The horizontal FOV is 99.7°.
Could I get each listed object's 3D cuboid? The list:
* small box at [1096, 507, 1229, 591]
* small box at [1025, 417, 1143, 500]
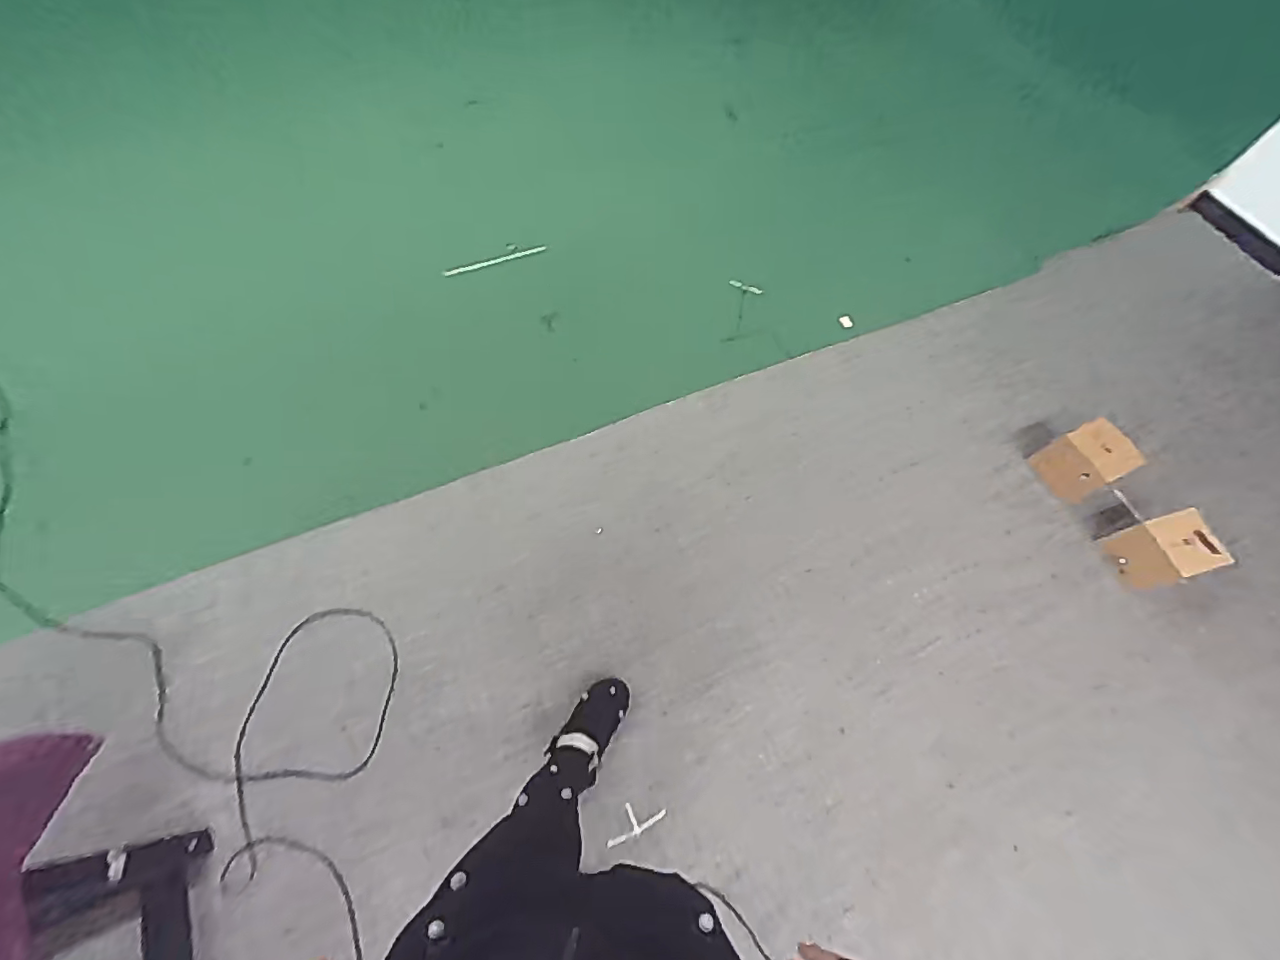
[{"bbox_3d":[1.462,0.198,1.527,0.179,0.176,0.168,-13,65,-10],"label":"small box"},{"bbox_3d":[1.337,-0.057,1.641,0.168,0.176,0.179,-22,67,-14],"label":"small box"}]
